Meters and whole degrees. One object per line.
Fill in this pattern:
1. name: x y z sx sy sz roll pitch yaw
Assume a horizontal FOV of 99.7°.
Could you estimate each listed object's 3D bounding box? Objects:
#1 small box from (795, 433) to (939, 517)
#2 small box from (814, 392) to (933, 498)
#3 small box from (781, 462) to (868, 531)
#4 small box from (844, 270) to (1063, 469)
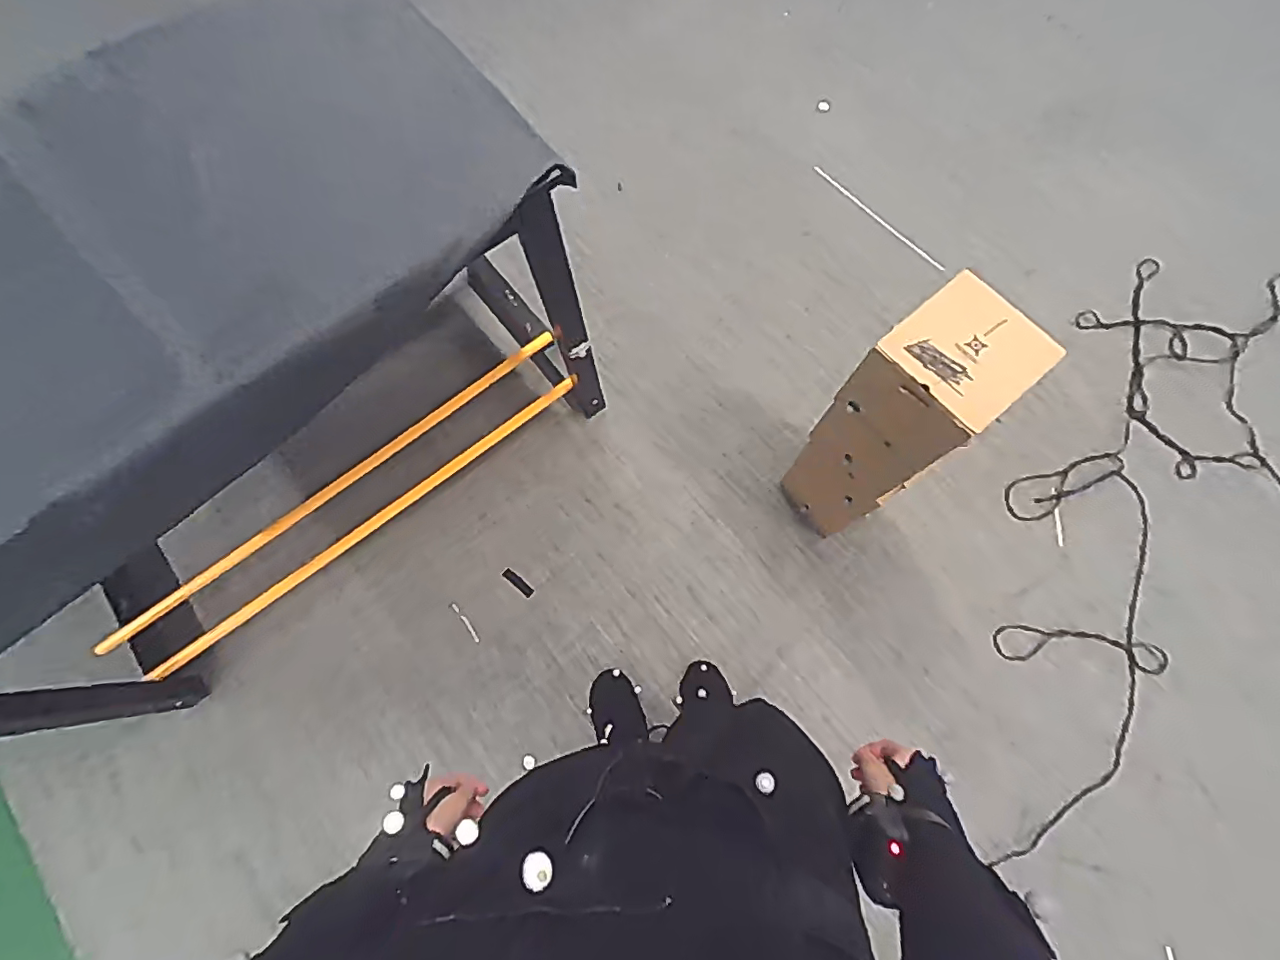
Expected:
1. small box: 0.436 -0.044 1.064 0.168 0.176 0.179 -38 75 -9
2. small box: 0.425 -0.095 0.908 0.179 0.176 0.168 -37 76 -8
3. small box: 0.448 0.001 1.220 0.168 0.176 0.179 -36 77 -8
4. small box: 0.412 -0.142 0.751 0.179 0.176 0.168 -39 77 -10
